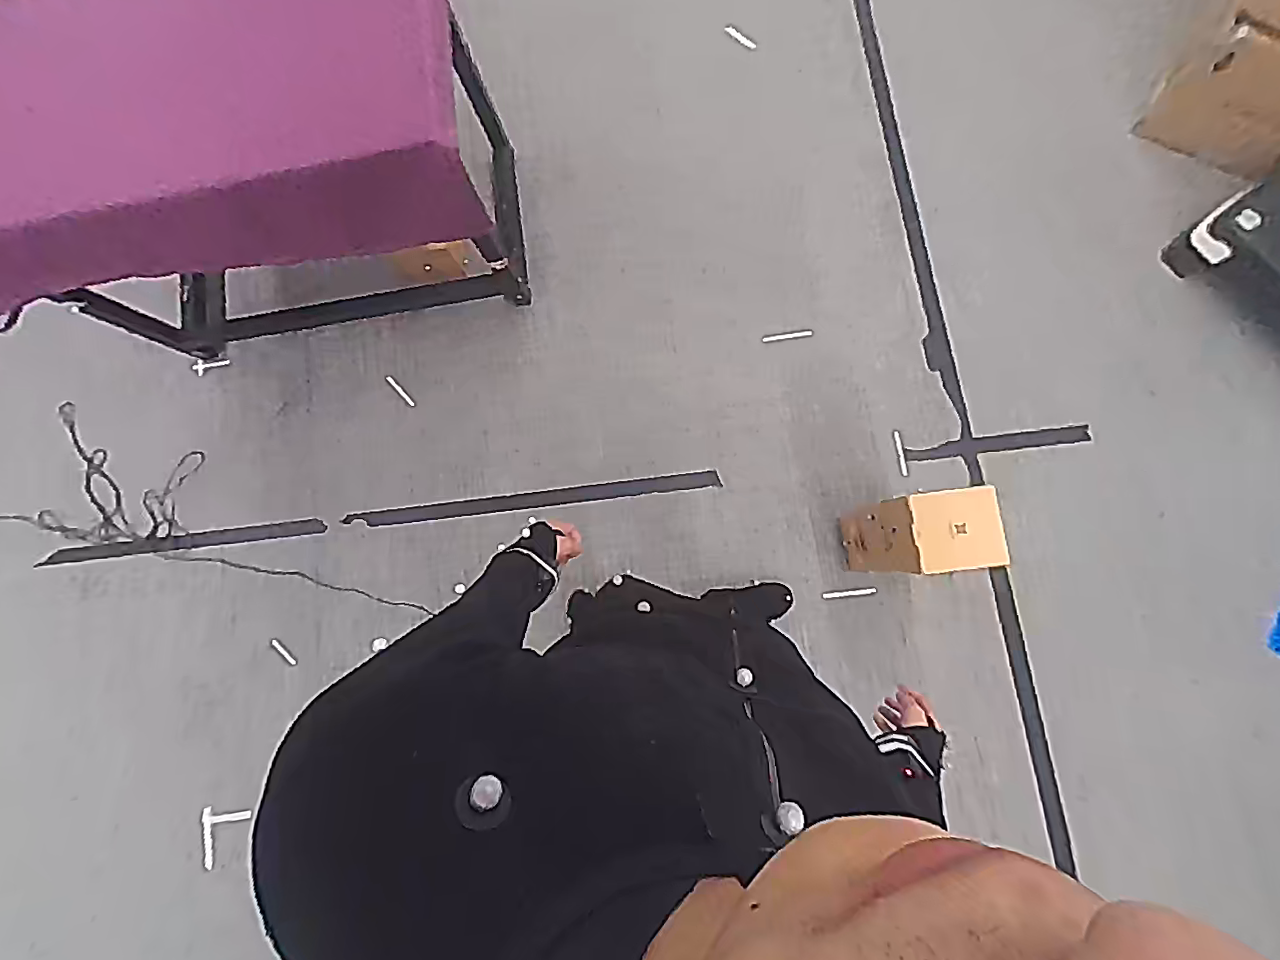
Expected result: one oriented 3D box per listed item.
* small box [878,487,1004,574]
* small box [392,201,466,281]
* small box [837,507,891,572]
[{"bbox_3d":[0.651,0.110,1.186,0.179,0.176,0.168,-7,83,4],"label":"small box"},{"bbox_3d":[-0.680,-0.774,1.763,0.179,0.176,0.168,-7,81,5],"label":"small box"},{"bbox_3d":[0.674,0.159,1.510,0.179,0.176,0.168,-11,82,5],"label":"small box"}]
